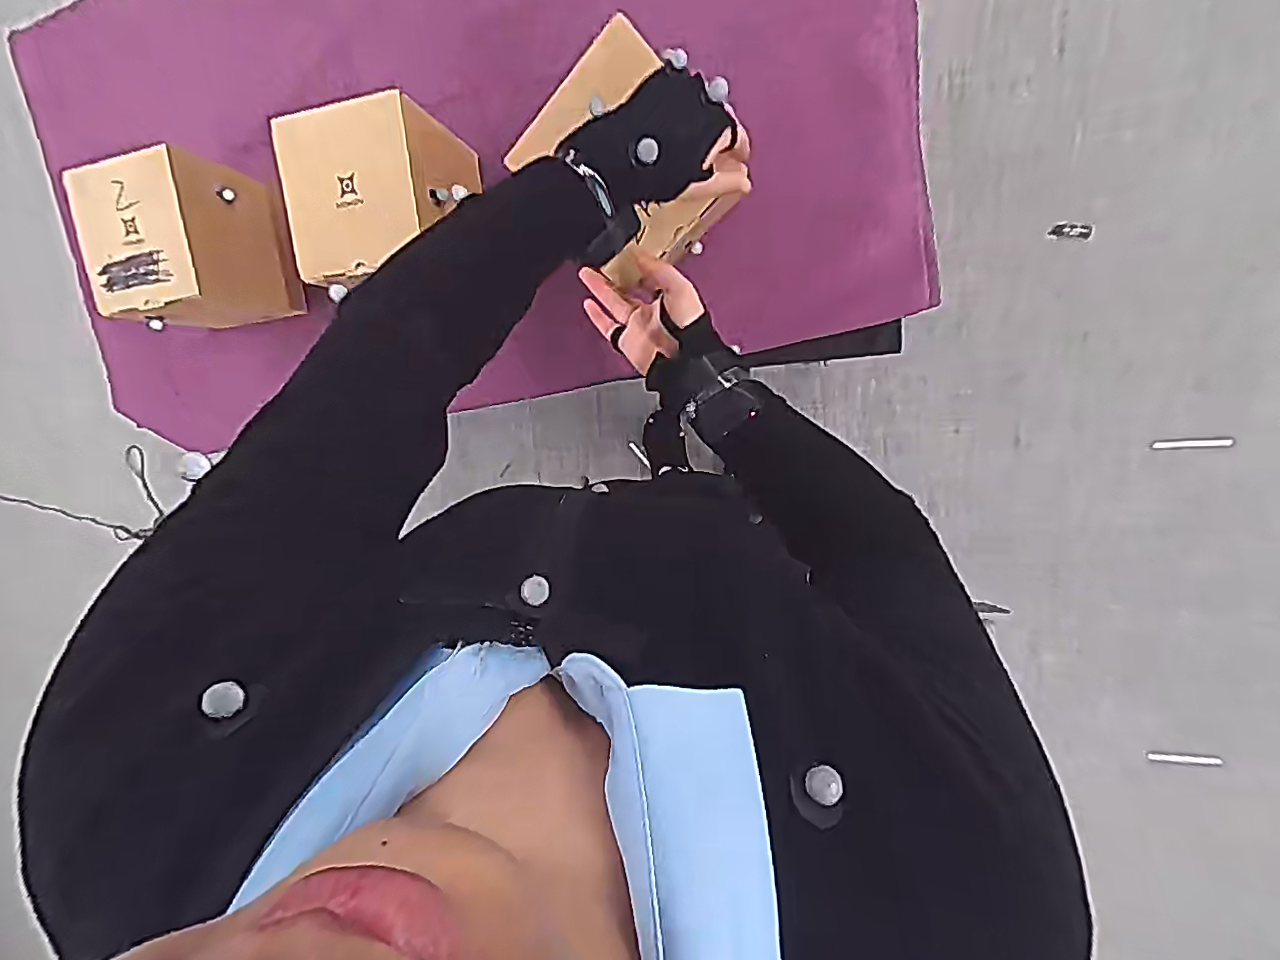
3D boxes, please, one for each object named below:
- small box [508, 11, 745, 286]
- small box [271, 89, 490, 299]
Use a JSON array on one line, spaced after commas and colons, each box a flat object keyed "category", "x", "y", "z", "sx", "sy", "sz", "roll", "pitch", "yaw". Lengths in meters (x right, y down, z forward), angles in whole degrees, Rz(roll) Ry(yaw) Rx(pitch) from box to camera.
[{"category": "small box", "x": -0.004, "y": -0.331, "z": 0.589, "sx": 0.168, "sy": 0.176, "sz": 0.179, "roll": -36, "pitch": 100, "yaw": 20}, {"category": "small box", "x": -0.306, "y": -0.335, "z": 0.671, "sx": 0.168, "sy": 0.176, "sz": 0.179, "roll": -4, "pitch": 100, "yaw": 12}]
